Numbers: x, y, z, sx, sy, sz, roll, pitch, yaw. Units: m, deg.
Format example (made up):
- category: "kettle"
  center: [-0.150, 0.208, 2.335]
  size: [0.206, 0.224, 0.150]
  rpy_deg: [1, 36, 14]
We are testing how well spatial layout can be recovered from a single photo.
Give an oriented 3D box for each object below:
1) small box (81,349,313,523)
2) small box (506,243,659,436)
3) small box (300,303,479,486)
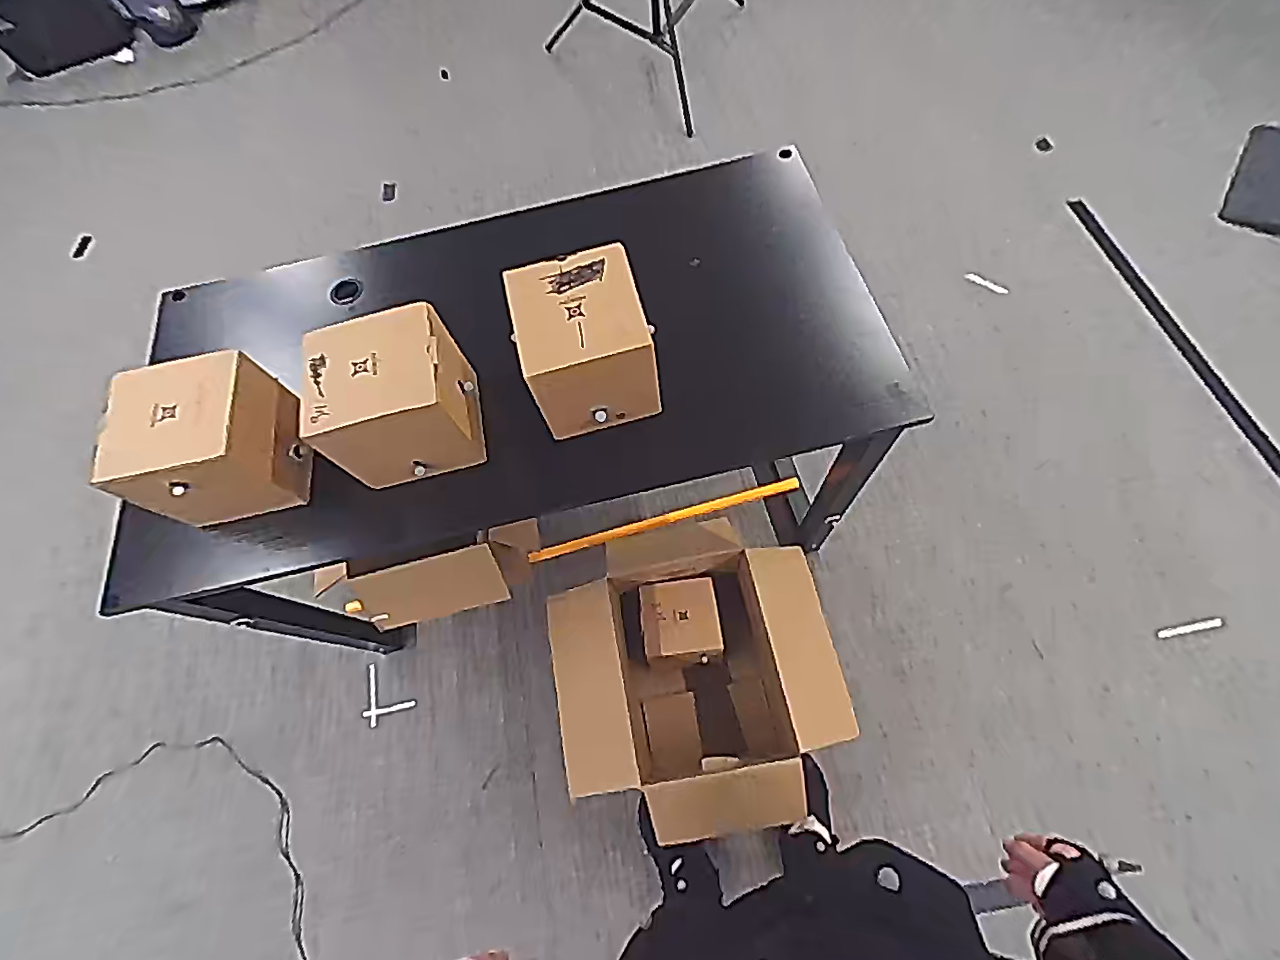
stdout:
- category: "small box"
  center: [-0.592, -0.051, 0.752]
  size: [0.179, 0.176, 0.168]
  rpy_deg: [-11, 67, 0]
- category: "small box"
  center: [-0.074, -0.189, 0.758]
  size: [0.168, 0.176, 0.179]
  rpy_deg: [-15, 66, -1]
- category: "small box"
  center: [-0.335, -0.111, 0.752]
  size: [0.179, 0.176, 0.168]
  rpy_deg: [-14, 66, -2]
